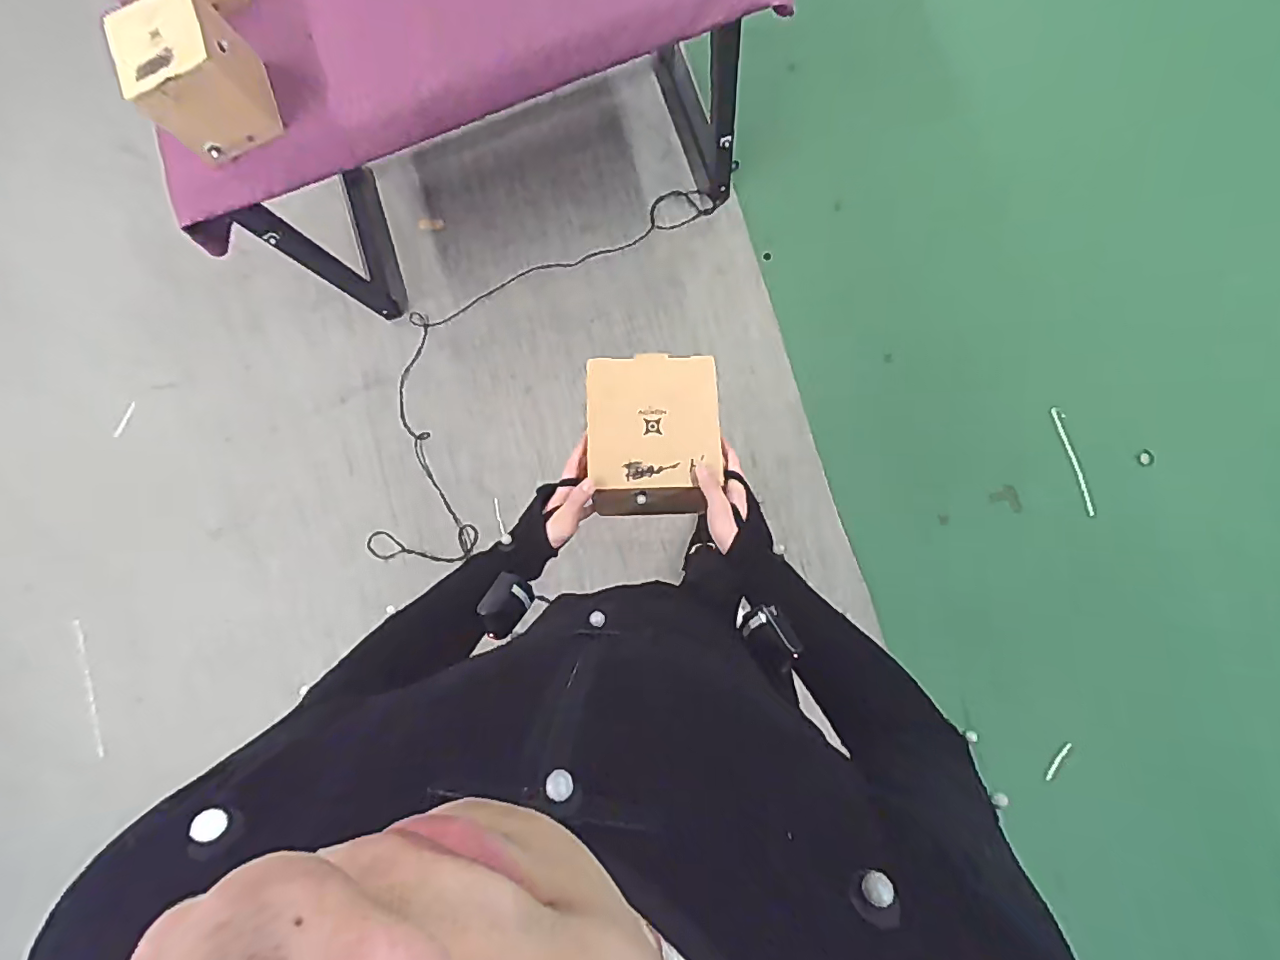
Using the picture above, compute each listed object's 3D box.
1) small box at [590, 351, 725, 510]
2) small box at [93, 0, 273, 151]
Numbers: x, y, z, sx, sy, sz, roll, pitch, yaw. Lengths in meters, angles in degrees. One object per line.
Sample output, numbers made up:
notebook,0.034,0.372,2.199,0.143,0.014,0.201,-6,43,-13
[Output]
small box,0.019,-0.060,0.742,0.168,0.176,0.179,-1,77,-1
small box,-0.808,-0.735,0.974,0.168,0.176,0.179,-21,82,4
